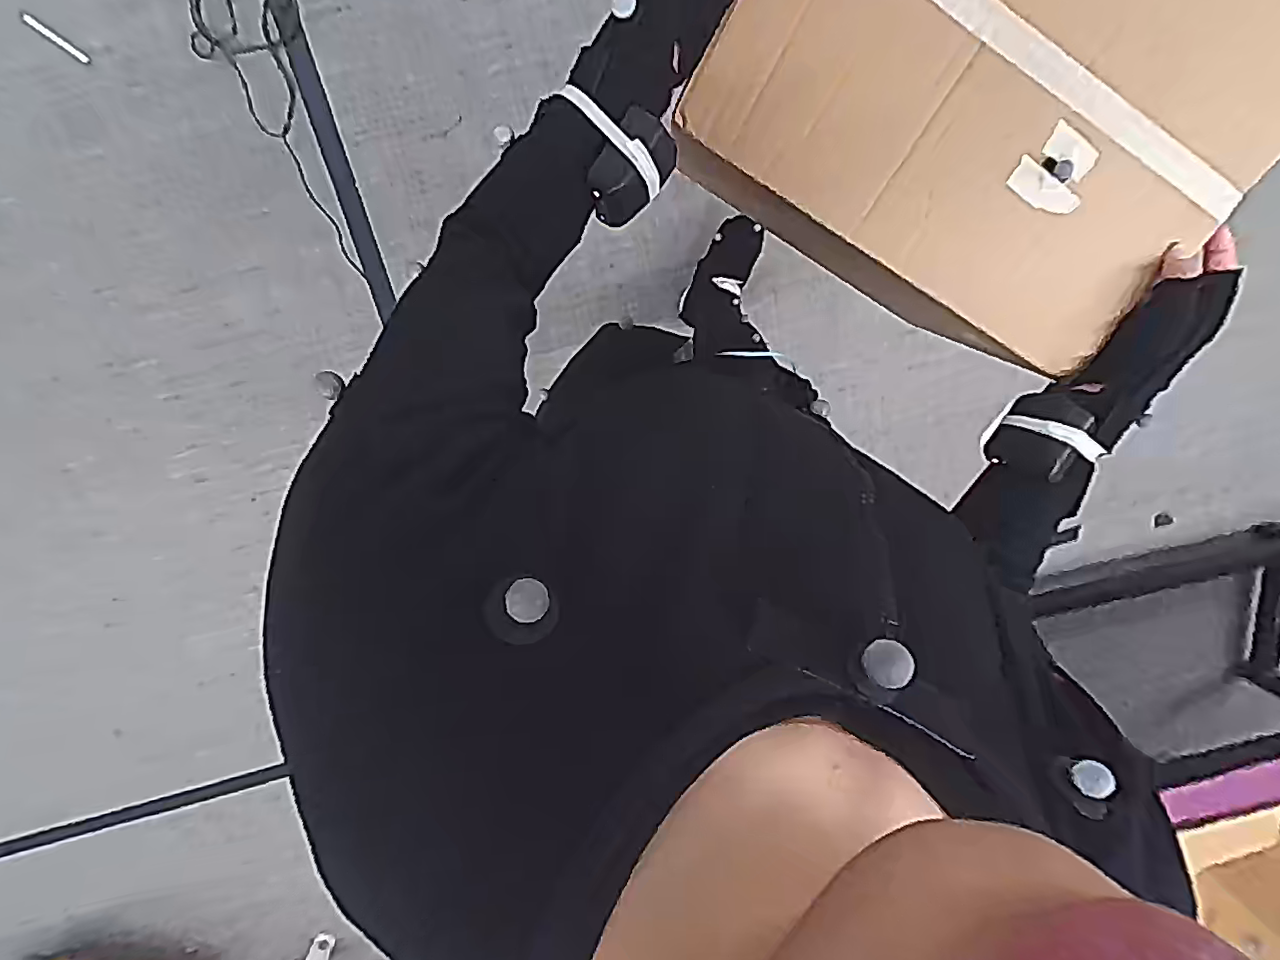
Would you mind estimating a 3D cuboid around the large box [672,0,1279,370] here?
[{"bbox_3d":[0.279,-0.367,0.529,0.408,0.320,0.320,28,114,-11],"label":"large box"}]
